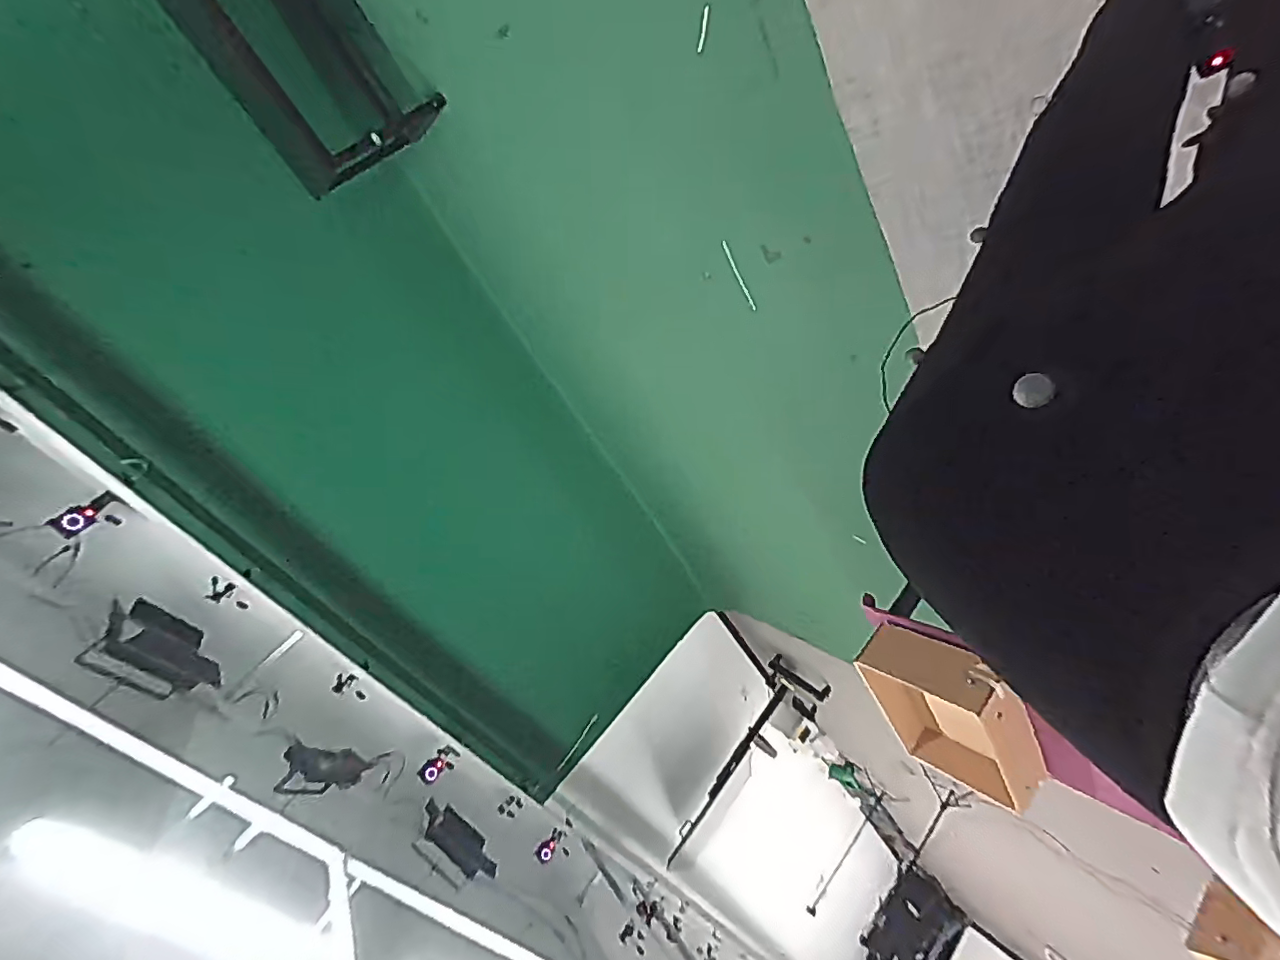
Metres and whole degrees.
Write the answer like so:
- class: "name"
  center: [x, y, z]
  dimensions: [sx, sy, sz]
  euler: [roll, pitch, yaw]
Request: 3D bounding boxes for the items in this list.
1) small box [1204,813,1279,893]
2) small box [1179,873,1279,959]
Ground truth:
- class: "small box"
  center: [1.478, 0.901, 1.236]
  dimensions: [0.179, 0.176, 0.168]
  euler: [38, 160, 19]
- class: "small box"
  center: [1.370, 1.013, 1.189]
  dimensions: [0.168, 0.176, 0.179]
  euler: [39, 160, 19]
